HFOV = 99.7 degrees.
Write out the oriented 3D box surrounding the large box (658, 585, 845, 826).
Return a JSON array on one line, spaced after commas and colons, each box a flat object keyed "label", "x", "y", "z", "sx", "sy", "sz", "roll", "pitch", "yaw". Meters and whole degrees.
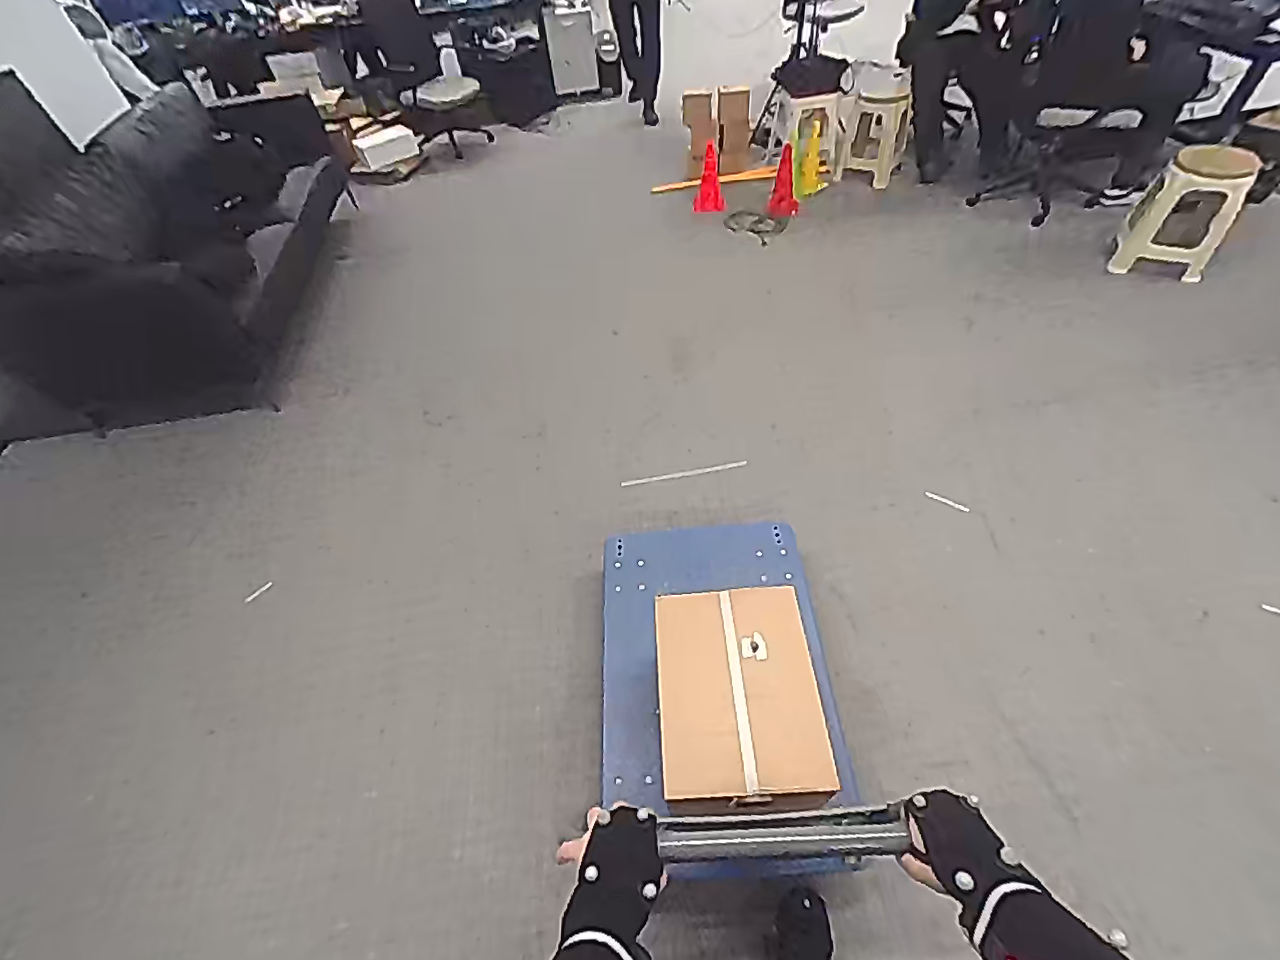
[{"label": "large box", "x": 0.216, "y": 0.494, "z": 1.189, "sx": 0.320, "sy": 0.320, "sz": 0.408, "roll": -5, "pitch": 49, "yaw": 3}]
